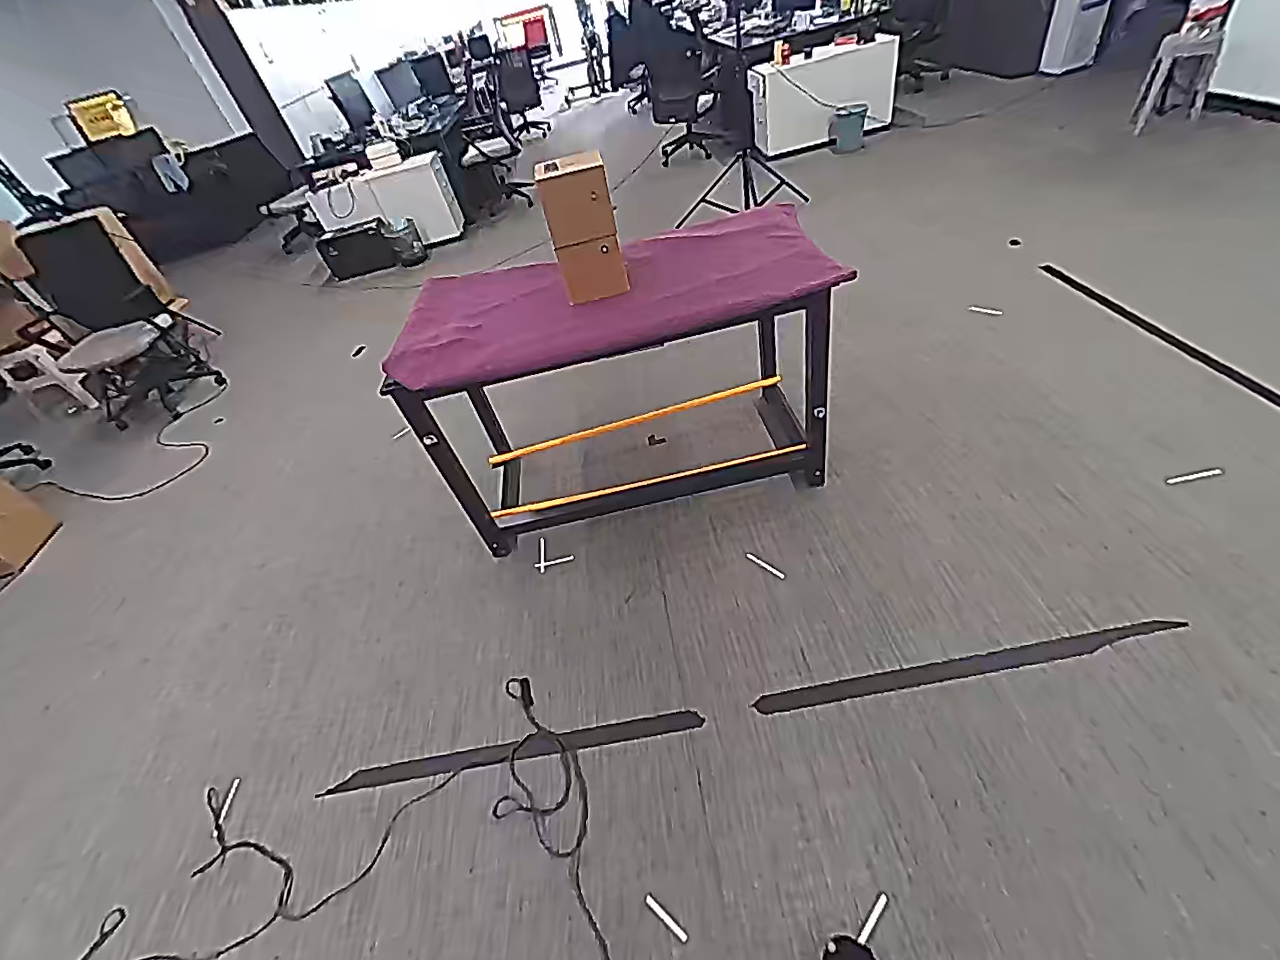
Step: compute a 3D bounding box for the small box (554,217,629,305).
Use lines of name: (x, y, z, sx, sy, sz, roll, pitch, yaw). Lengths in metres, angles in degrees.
small box: (-0.137, -0.622, 1.544, 0.179, 0.176, 0.168, -13, 43, 3)
